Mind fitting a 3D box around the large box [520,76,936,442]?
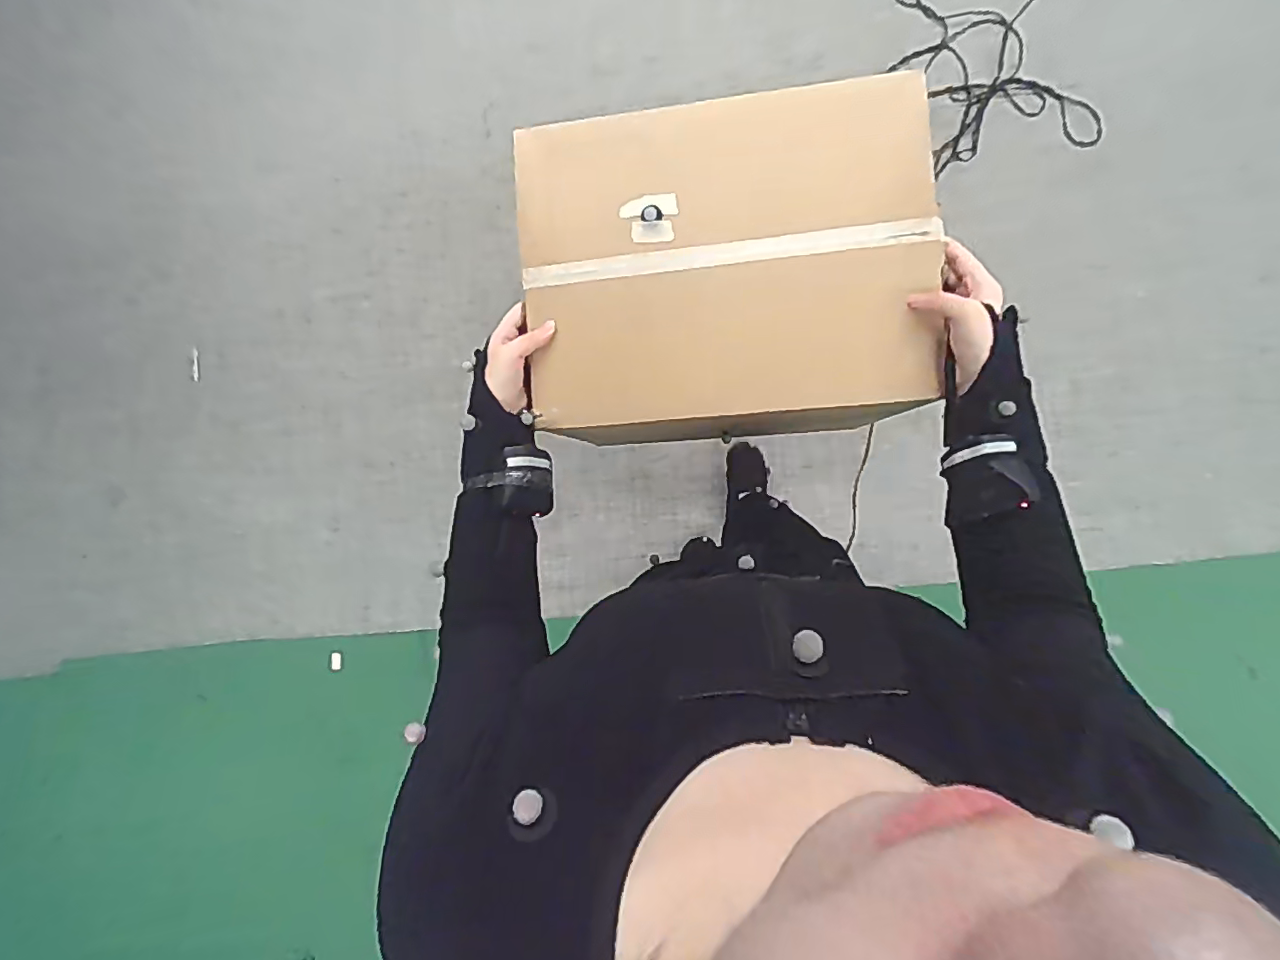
[{"bbox_3d":[0.102,-0.224,0.696,0.408,0.320,0.320,-4,89,9],"label":"large box"}]
